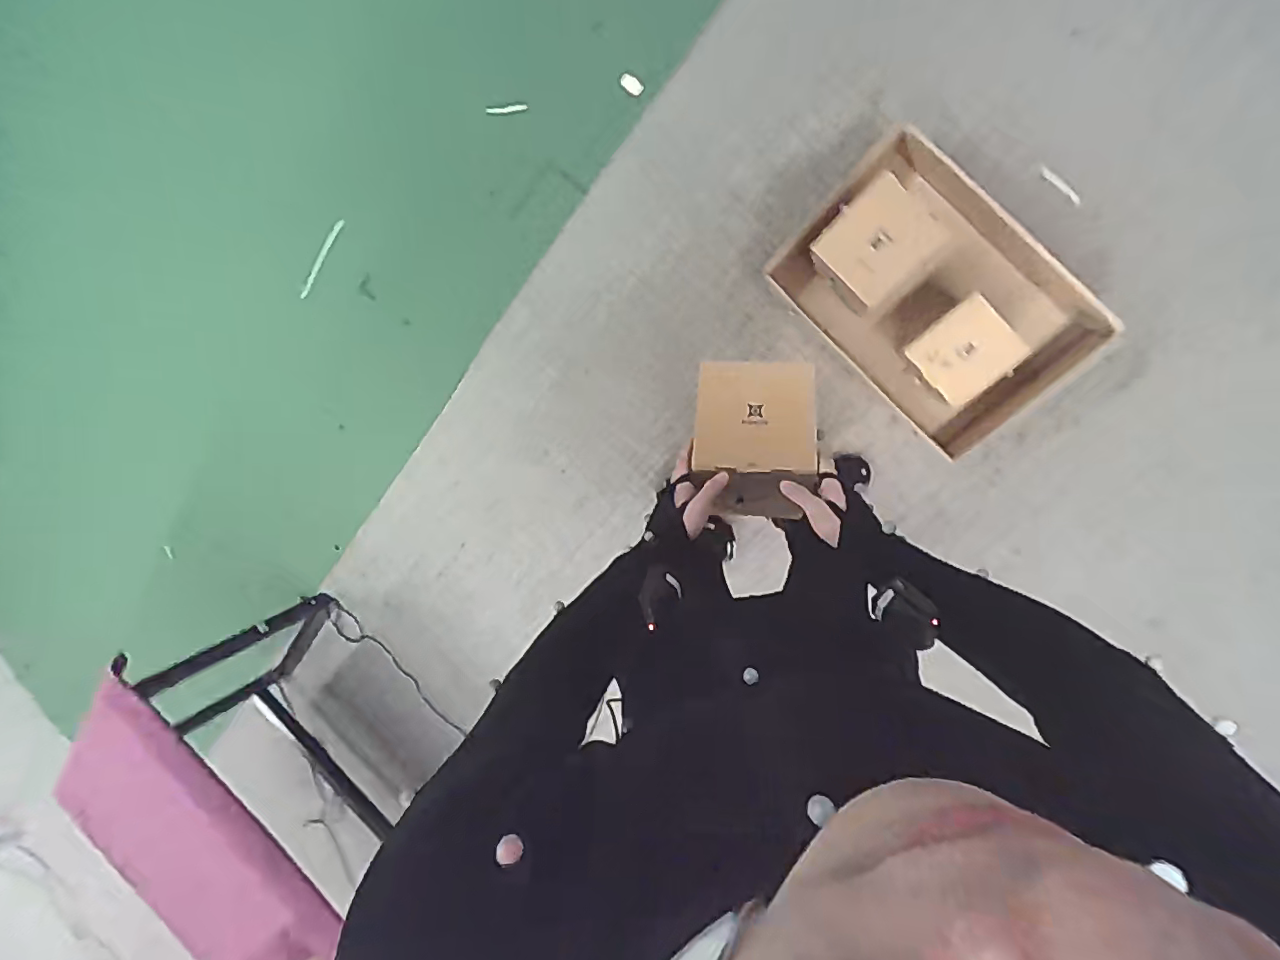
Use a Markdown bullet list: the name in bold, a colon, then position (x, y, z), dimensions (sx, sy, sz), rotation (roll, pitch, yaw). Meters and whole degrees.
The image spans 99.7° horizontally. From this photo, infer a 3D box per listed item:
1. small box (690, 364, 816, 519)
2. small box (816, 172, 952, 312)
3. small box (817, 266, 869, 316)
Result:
- **small box**: position (0.162, -0.054, 0.811), dimensions (0.168, 0.176, 0.179), rotation (1, 67, 8)
- **small box**: position (0.462, -0.452, 1.057), dimensions (0.179, 0.176, 0.168), rotation (-43, 88, 22)
- **small box**: position (0.513, -0.489, 1.207), dimensions (0.179, 0.176, 0.168), rotation (-43, 87, 21)
